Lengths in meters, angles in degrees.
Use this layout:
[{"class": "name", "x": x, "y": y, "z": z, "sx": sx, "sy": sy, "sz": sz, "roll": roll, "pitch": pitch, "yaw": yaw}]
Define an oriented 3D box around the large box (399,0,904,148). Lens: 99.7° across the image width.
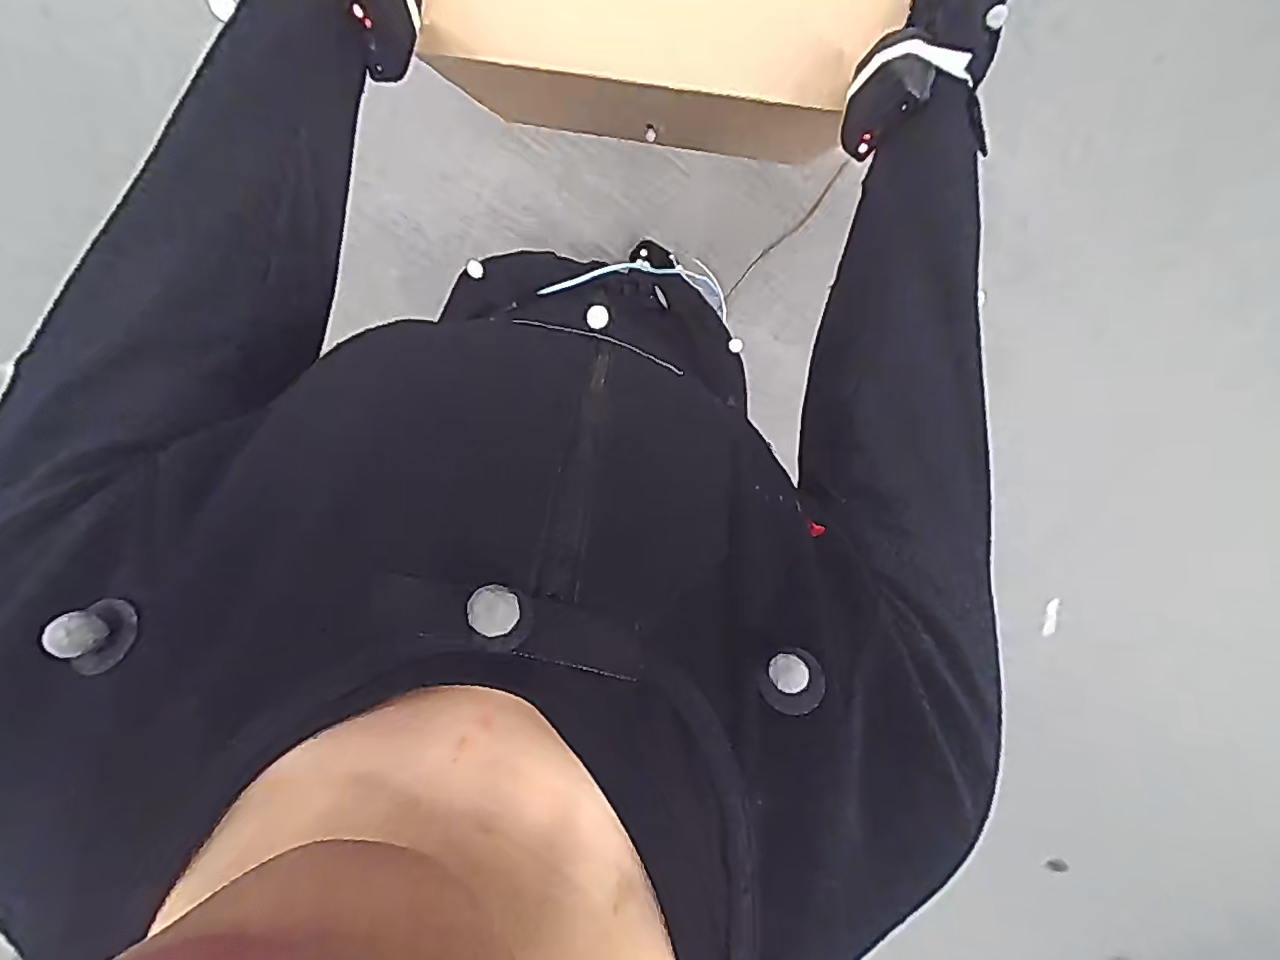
[{"class": "large box", "x": 0.026, "y": -0.532, "z": 0.517, "sx": 0.408, "sy": 0.320, "sz": 0.320, "roll": 8, "pitch": 113, "yaw": 0}]
